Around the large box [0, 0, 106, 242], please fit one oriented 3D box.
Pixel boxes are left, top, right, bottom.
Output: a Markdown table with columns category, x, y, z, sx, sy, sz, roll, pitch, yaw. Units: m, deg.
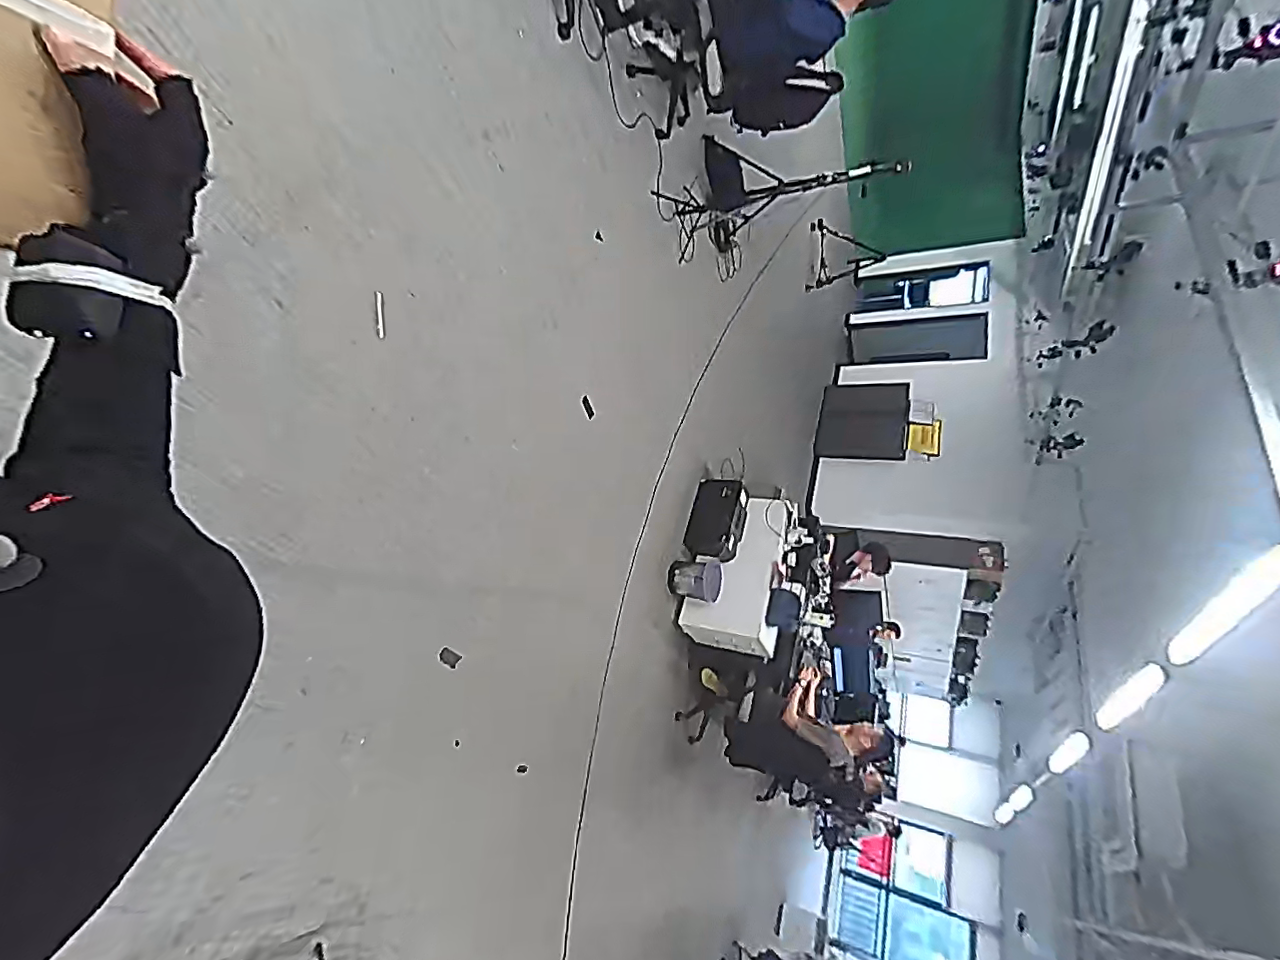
| category | x | y | z | sx | sy | sz | roll | pitch | yaw |
| --- | --- | --- | --- | --- | --- | --- | --- | --- | --- |
| large box | -0.616 | -0.357 | 0.290 | 0.408 | 0.320 | 0.320 | -4 | 109 | -61 |
